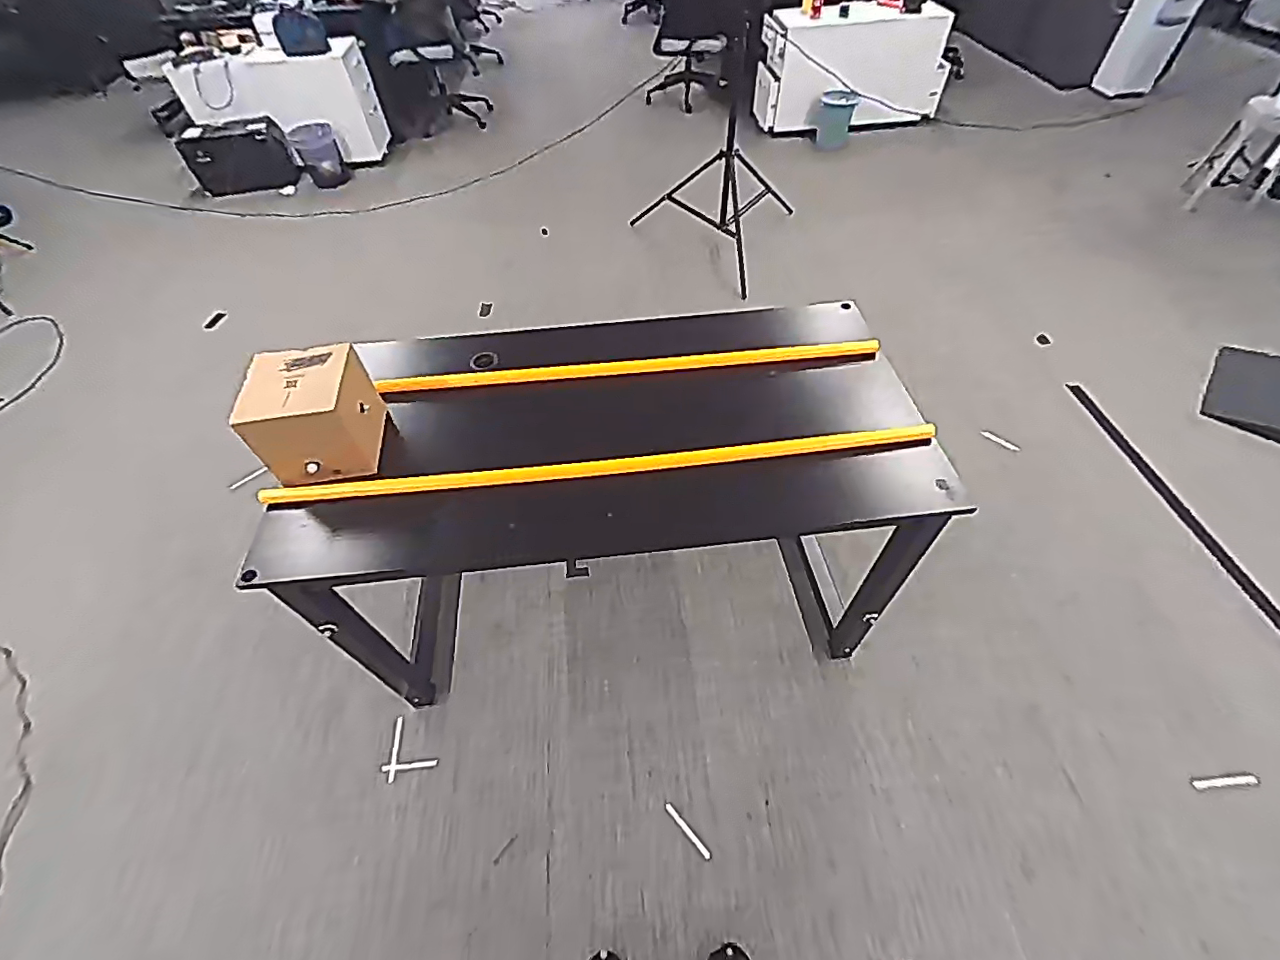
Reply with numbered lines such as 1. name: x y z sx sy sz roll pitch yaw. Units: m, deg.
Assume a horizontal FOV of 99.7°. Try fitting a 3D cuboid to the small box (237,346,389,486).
1. small box: -0.574 -0.115 0.979 0.168 0.176 0.179 -9 53 -5
